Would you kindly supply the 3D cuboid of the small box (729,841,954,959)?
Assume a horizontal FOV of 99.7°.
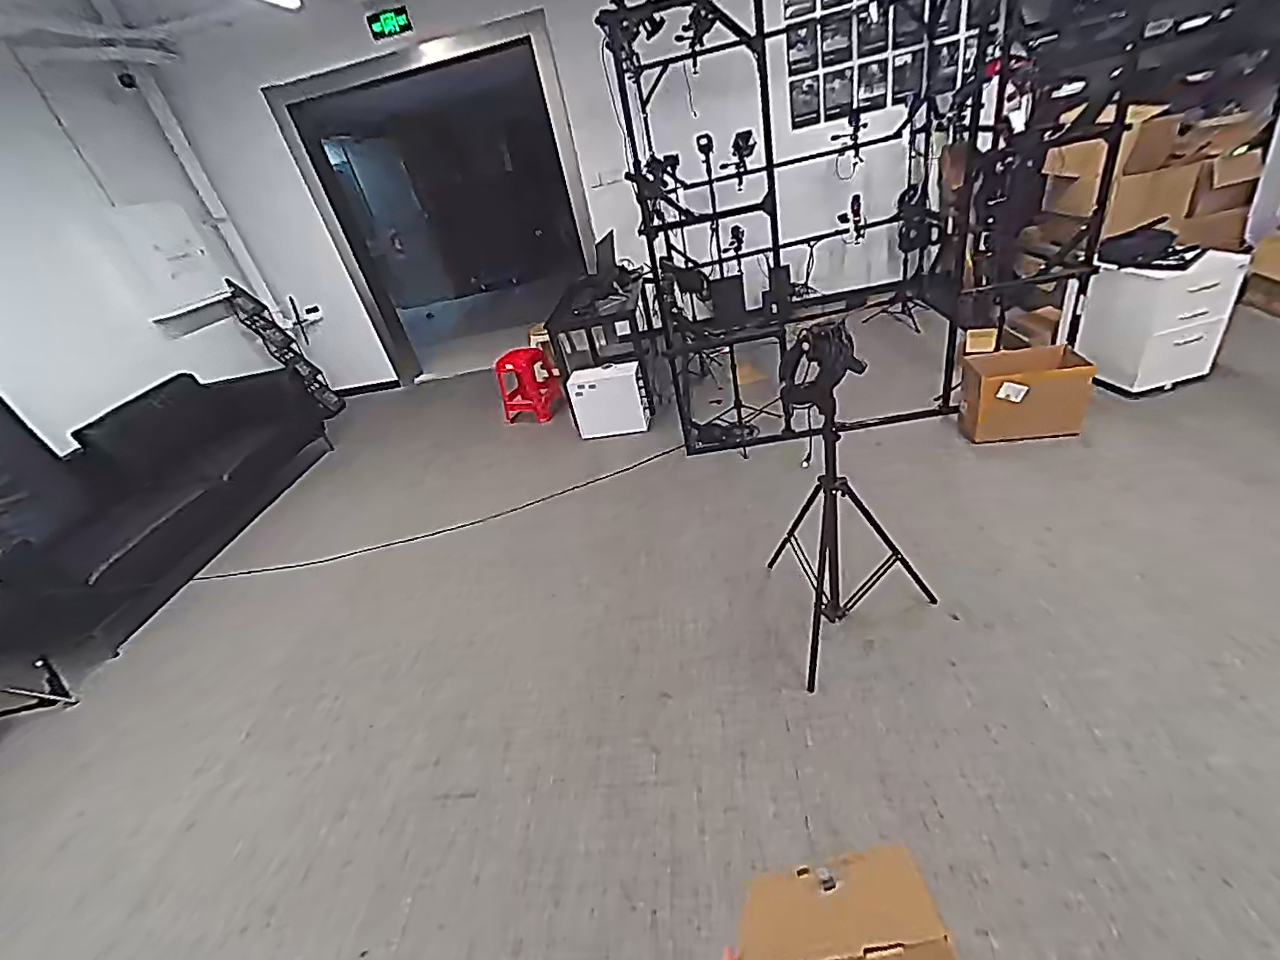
[{"bbox_3d":[0.187,0.443,0.446,0.168,0.176,0.179,-22,72,9],"label":"small box"}]
